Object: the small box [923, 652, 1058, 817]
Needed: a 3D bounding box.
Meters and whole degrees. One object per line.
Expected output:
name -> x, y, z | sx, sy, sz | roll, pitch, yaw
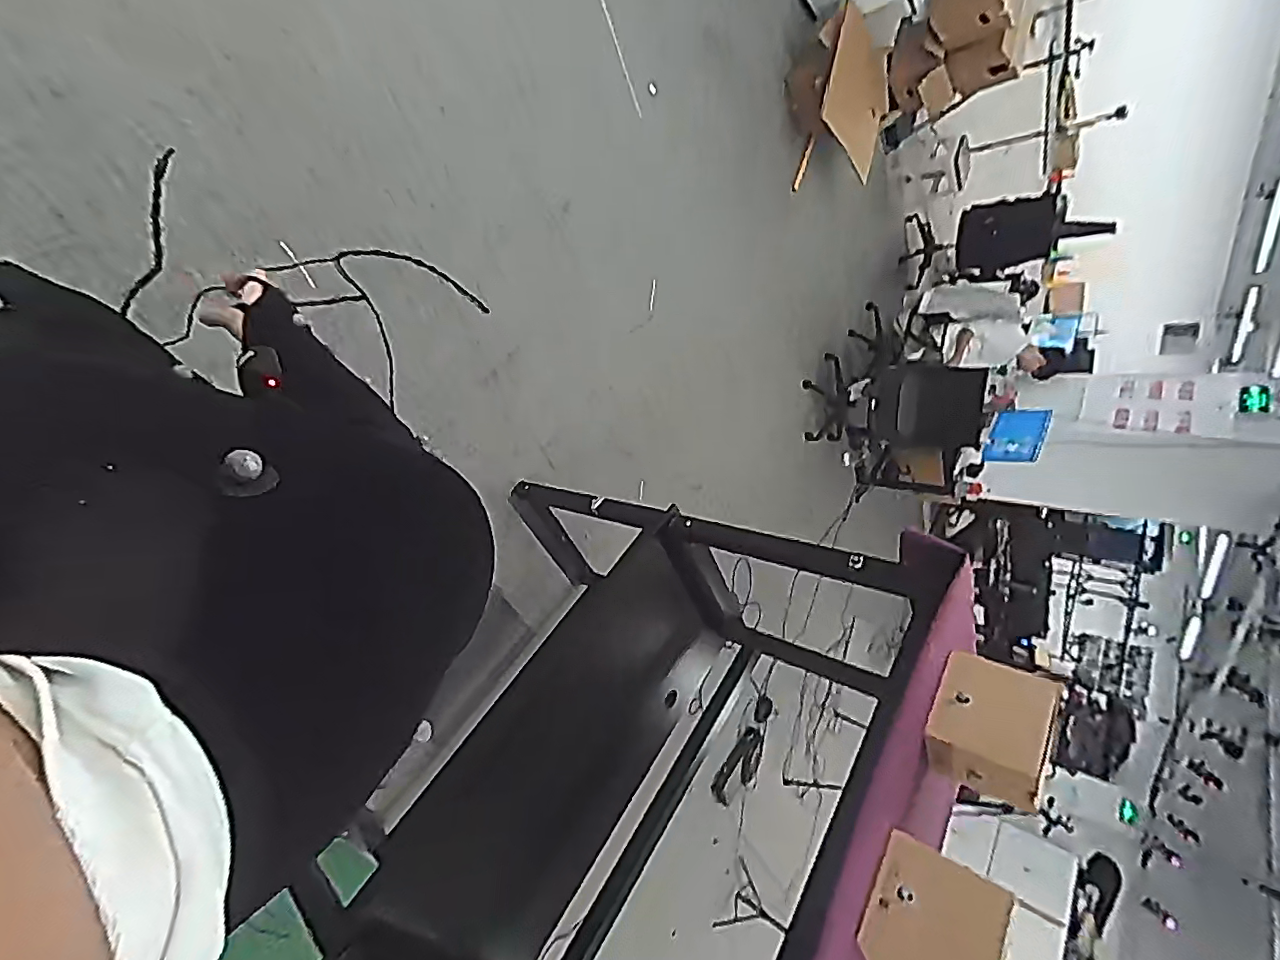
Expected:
small box -> 0.615, 0.443, 0.958 | 0.179, 0.176, 0.168 | -51, 133, -27
